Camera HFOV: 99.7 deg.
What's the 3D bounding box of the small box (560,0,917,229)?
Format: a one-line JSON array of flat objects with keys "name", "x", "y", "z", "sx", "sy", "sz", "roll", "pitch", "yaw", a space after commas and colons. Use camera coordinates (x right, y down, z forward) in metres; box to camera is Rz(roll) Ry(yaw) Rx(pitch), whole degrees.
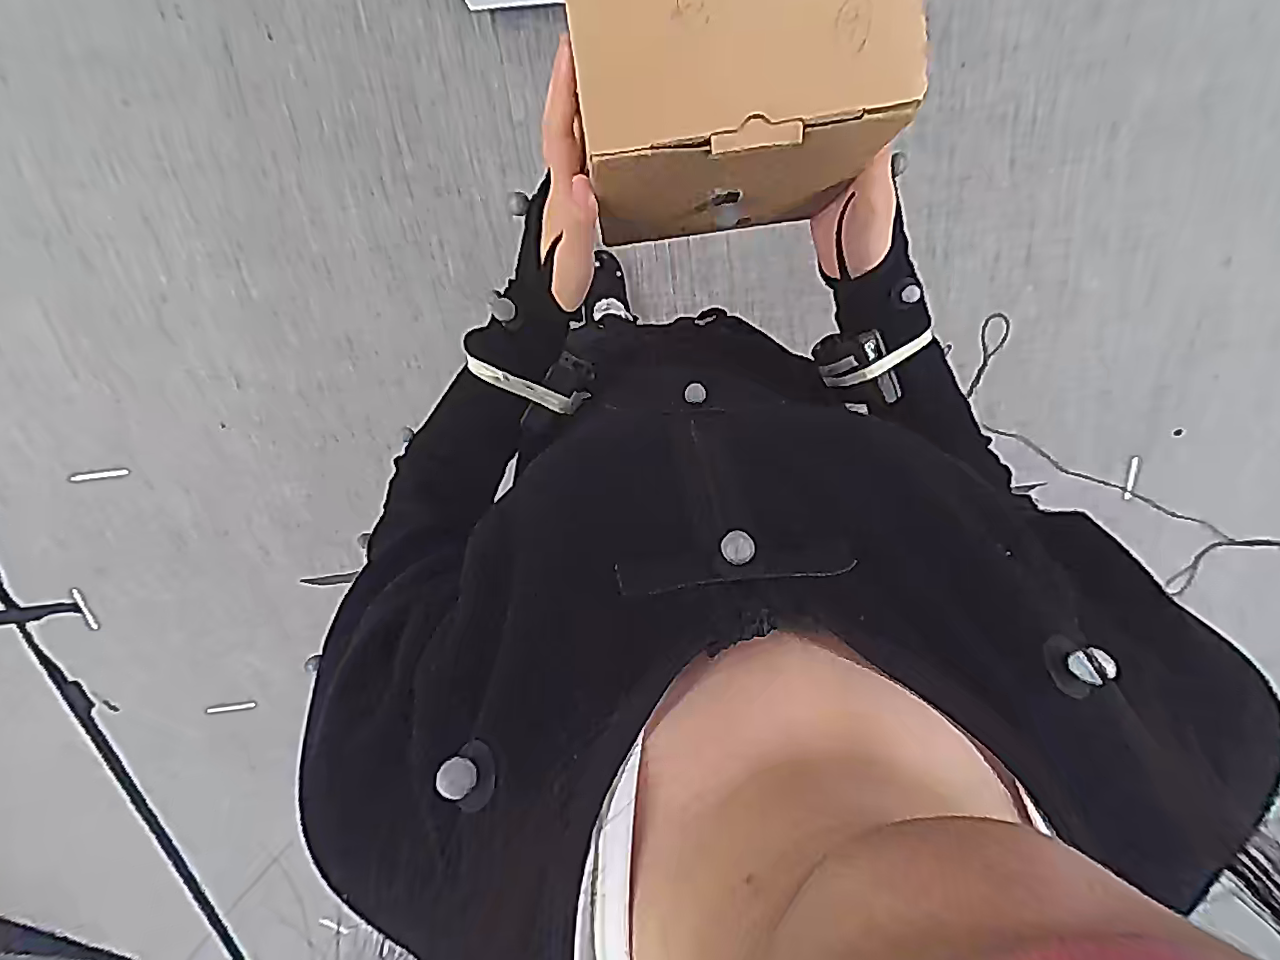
[{"name": "small box", "x": 0.041, "y": -0.264, "z": 0.323, "sx": 0.168, "sy": 0.176, "sz": 0.179, "roll": -8, "pitch": 101, "yaw": 0}]
